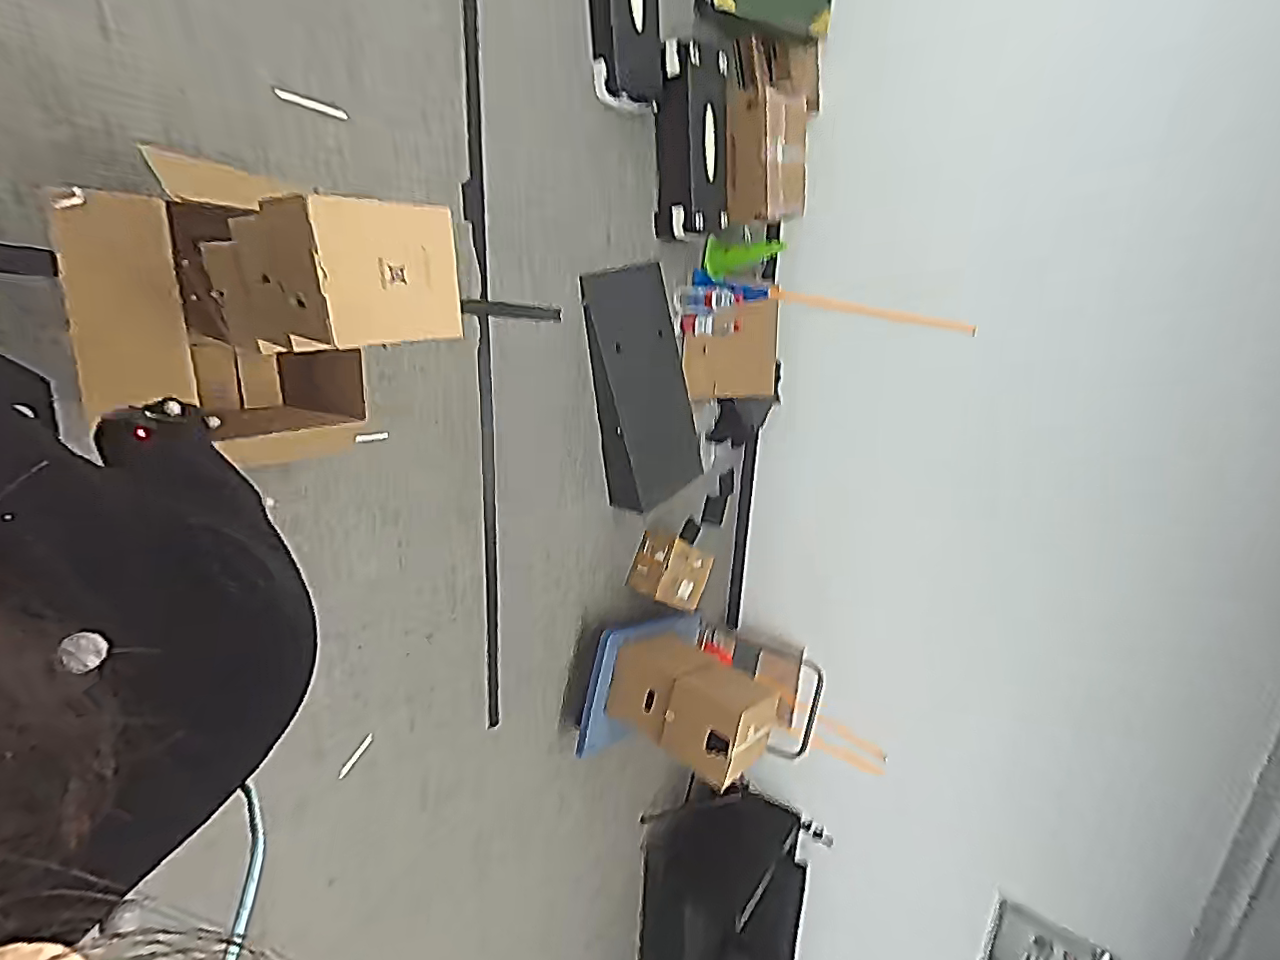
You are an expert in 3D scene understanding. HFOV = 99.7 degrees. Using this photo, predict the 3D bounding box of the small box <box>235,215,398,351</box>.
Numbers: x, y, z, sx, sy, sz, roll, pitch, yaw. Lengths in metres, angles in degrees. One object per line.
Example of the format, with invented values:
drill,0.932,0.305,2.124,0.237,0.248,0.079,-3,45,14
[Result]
small box,-0.488,-0.302,0.830,0.168,0.176,0.179,-22,121,-43

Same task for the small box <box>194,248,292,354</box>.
small box,-0.721,-0.363,1.055,0.168,0.176,0.179,-37,132,-36

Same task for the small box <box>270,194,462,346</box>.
small box,-0.366,-0.276,0.723,0.179,0.176,0.168,-21,122,-45
